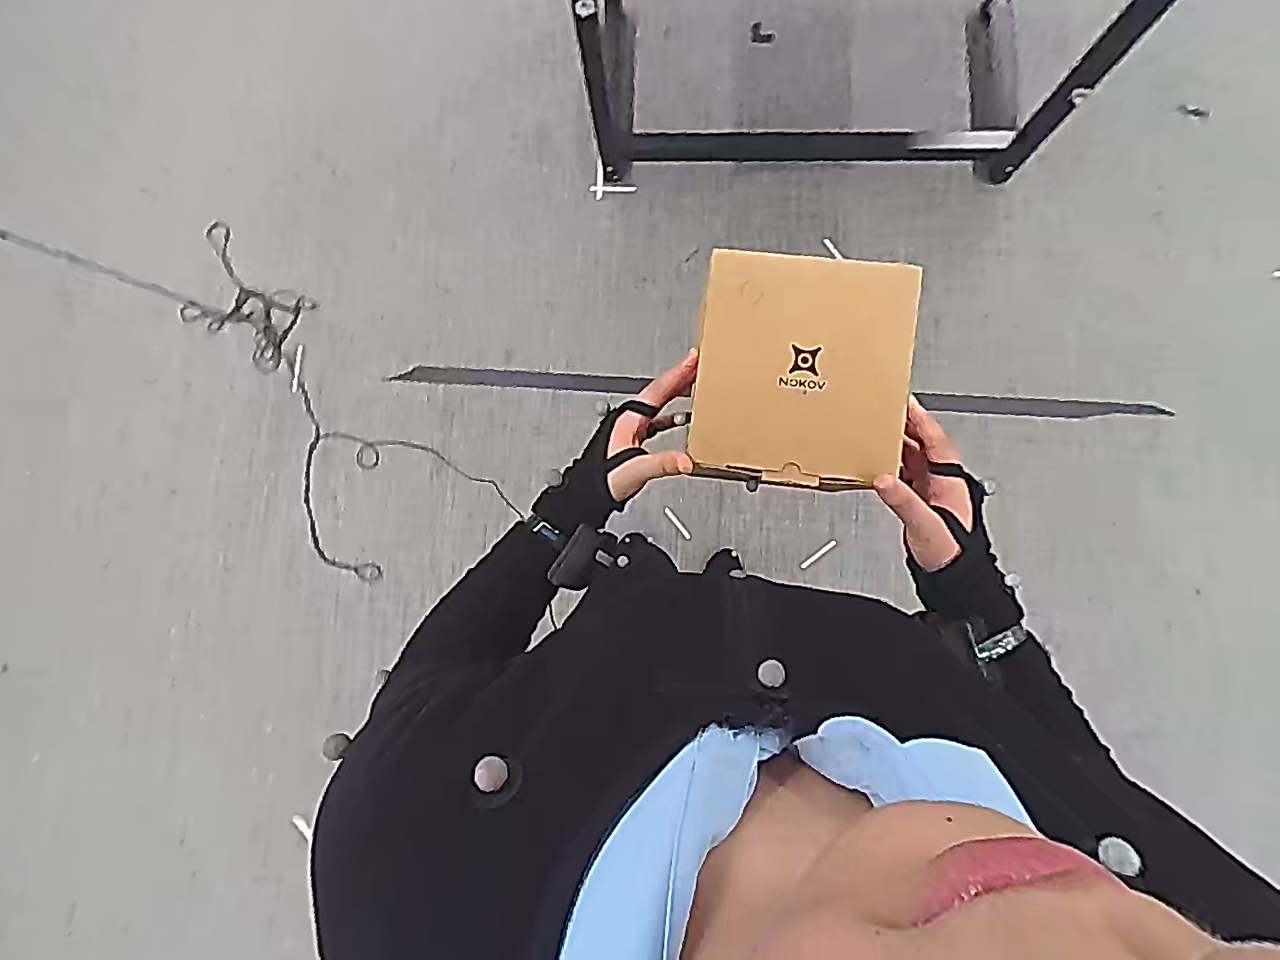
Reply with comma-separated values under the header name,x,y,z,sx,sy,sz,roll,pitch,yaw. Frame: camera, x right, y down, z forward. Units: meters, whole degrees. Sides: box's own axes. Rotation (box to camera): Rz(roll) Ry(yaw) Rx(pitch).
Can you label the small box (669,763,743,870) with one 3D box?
name,x,y,z,sx,sy,sz,roll,pitch,yaw
small box,0.155,0.807,1.314,0.168,0.176,0.179,-2,84,3
